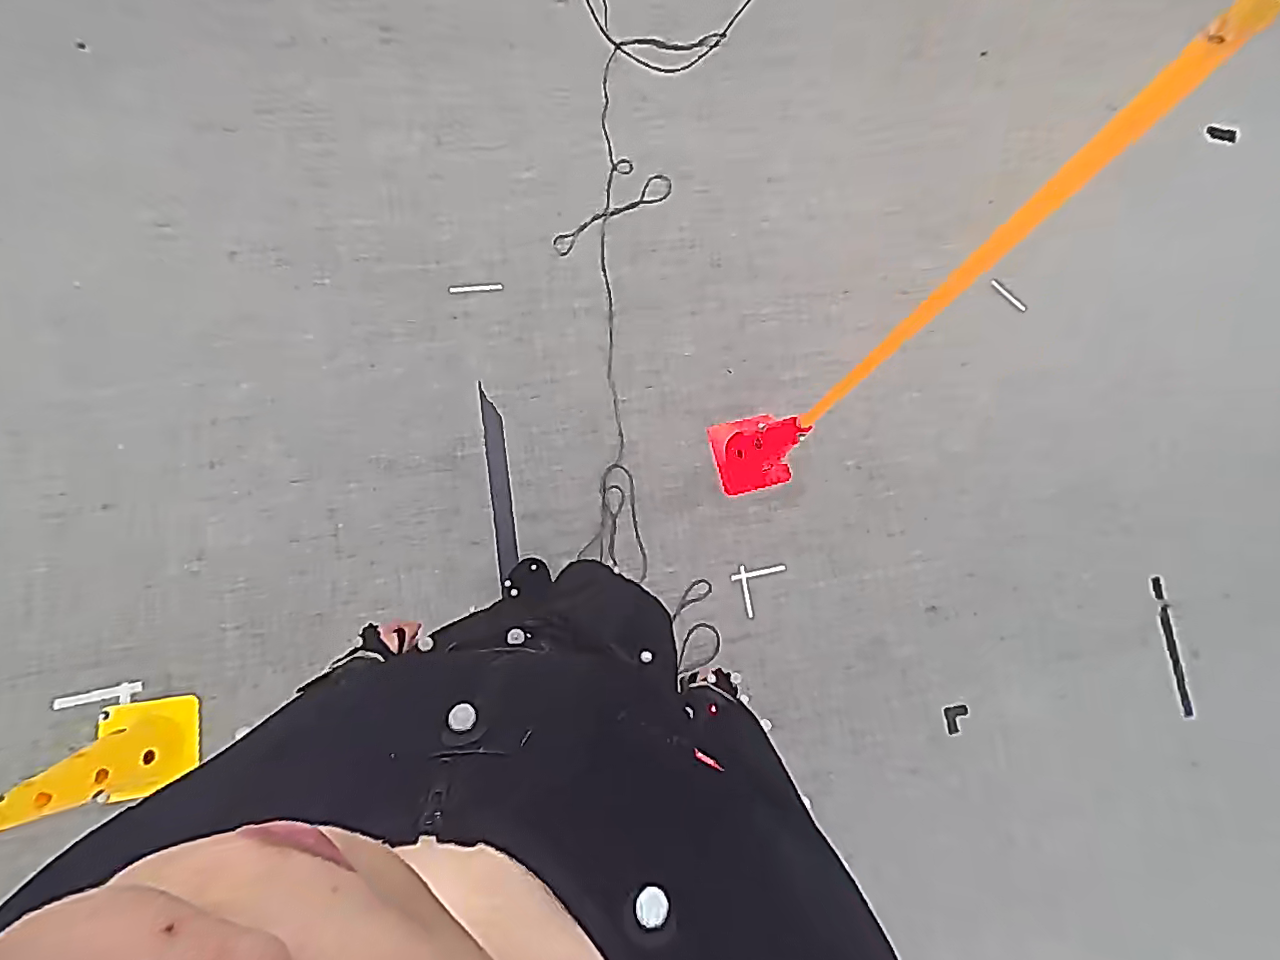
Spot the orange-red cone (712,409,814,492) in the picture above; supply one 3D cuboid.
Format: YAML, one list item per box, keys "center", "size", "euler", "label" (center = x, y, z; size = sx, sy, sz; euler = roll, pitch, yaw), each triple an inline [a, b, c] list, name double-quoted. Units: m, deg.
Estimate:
- center: [0.327, -0.102, 1.303]
  size: [0.199, 0.360, 0.198]
  euler: [-13, 83, -8]
  label: "orange-red cone"
